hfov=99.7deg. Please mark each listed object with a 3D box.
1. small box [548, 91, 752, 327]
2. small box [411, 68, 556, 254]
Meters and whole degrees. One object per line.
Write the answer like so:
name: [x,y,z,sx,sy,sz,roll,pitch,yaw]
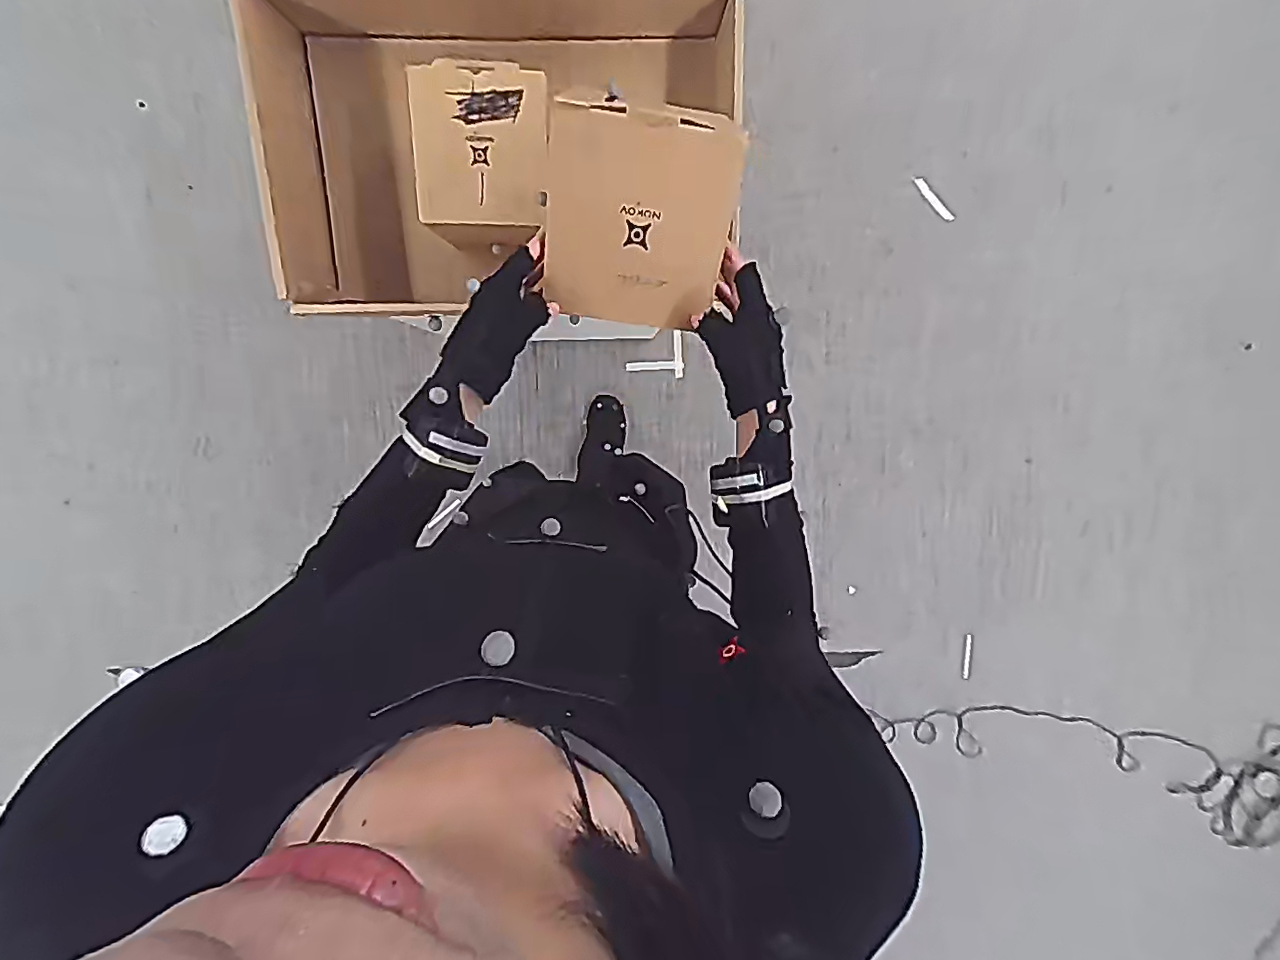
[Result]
small box: [0.001,-0.278,0.550,0.168,0.176,0.179,6,127,-4]
small box: [-0.199,-0.422,0.744,0.168,0.176,0.179,0,104,-3]
